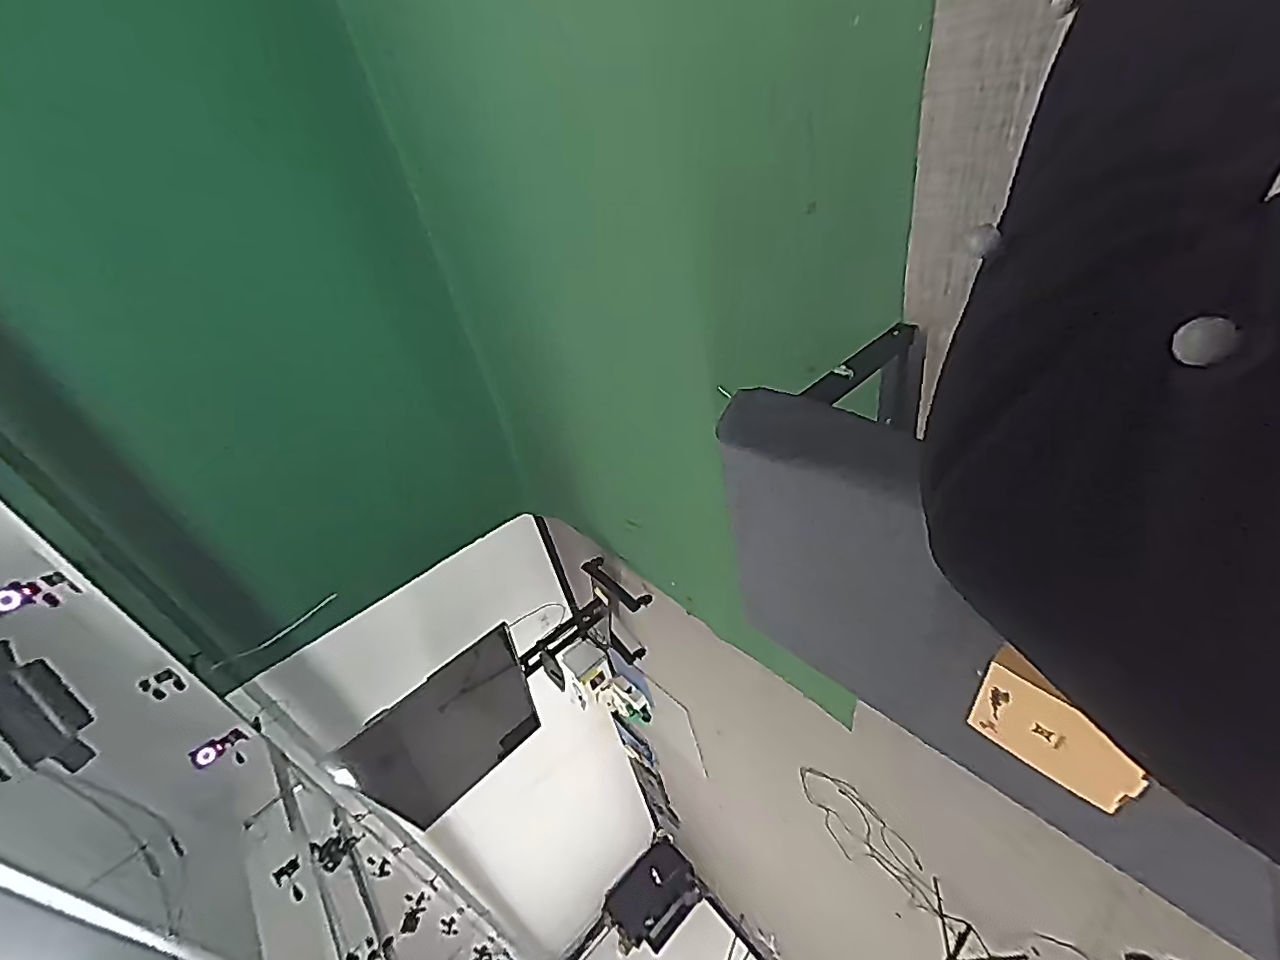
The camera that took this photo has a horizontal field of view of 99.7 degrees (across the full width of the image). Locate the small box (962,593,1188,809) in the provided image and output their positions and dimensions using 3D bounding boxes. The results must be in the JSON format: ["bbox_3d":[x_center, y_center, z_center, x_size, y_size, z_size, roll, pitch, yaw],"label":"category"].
[{"bbox_3d":[0.578,0.285,0.729,0.179,0.176,0.168,30,145,41],"label":"small box"}]
